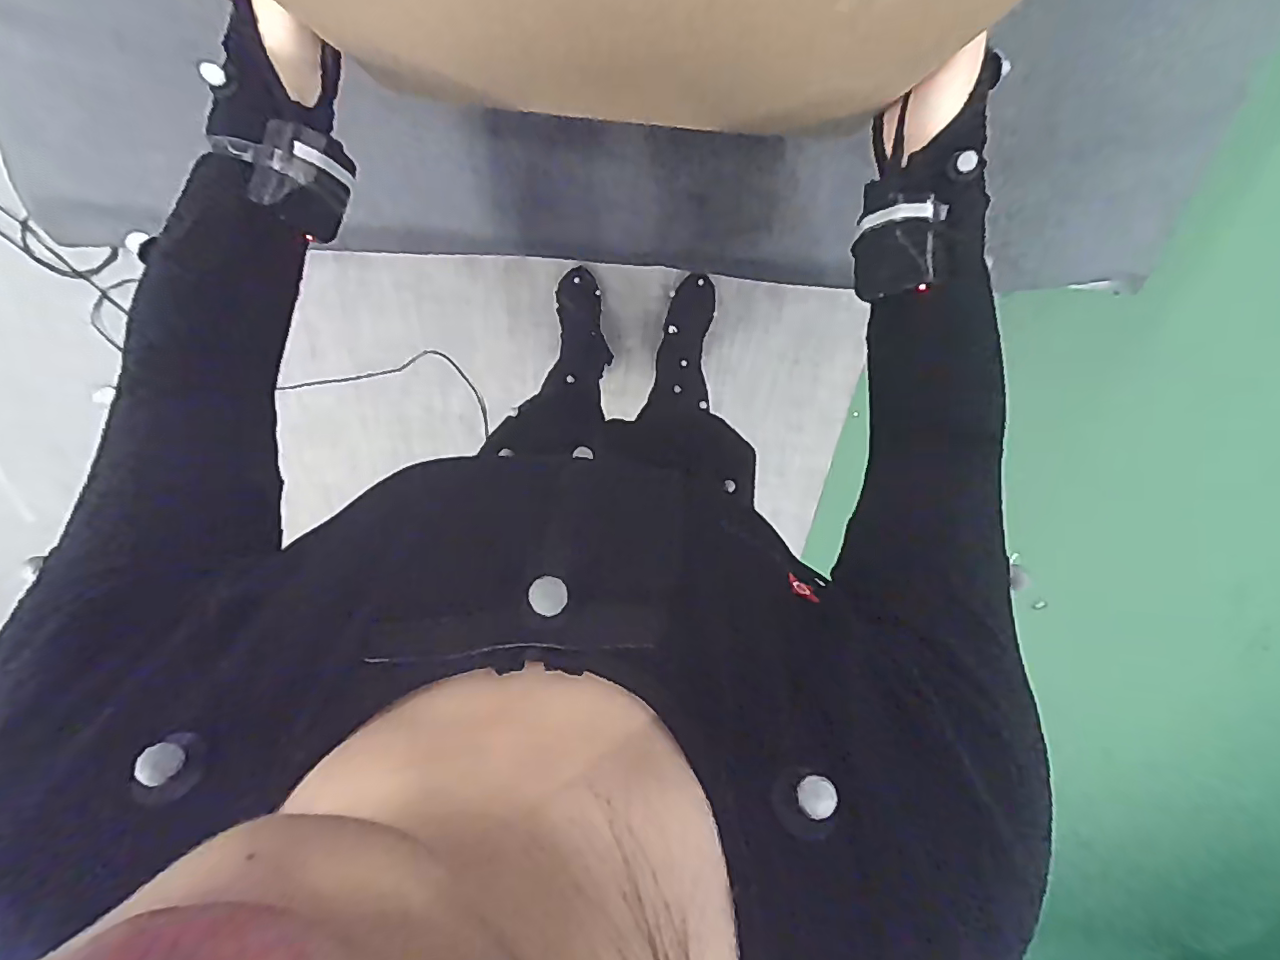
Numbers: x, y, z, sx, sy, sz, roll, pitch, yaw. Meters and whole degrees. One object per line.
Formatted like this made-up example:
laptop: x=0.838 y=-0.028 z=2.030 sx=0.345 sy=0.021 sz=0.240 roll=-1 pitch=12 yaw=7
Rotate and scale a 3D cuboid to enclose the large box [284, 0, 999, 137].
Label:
large box: x=-0.006 y=-0.421 z=0.307 sx=0.408 sy=0.320 sz=0.320 roll=4 pitch=110 yaw=-1
